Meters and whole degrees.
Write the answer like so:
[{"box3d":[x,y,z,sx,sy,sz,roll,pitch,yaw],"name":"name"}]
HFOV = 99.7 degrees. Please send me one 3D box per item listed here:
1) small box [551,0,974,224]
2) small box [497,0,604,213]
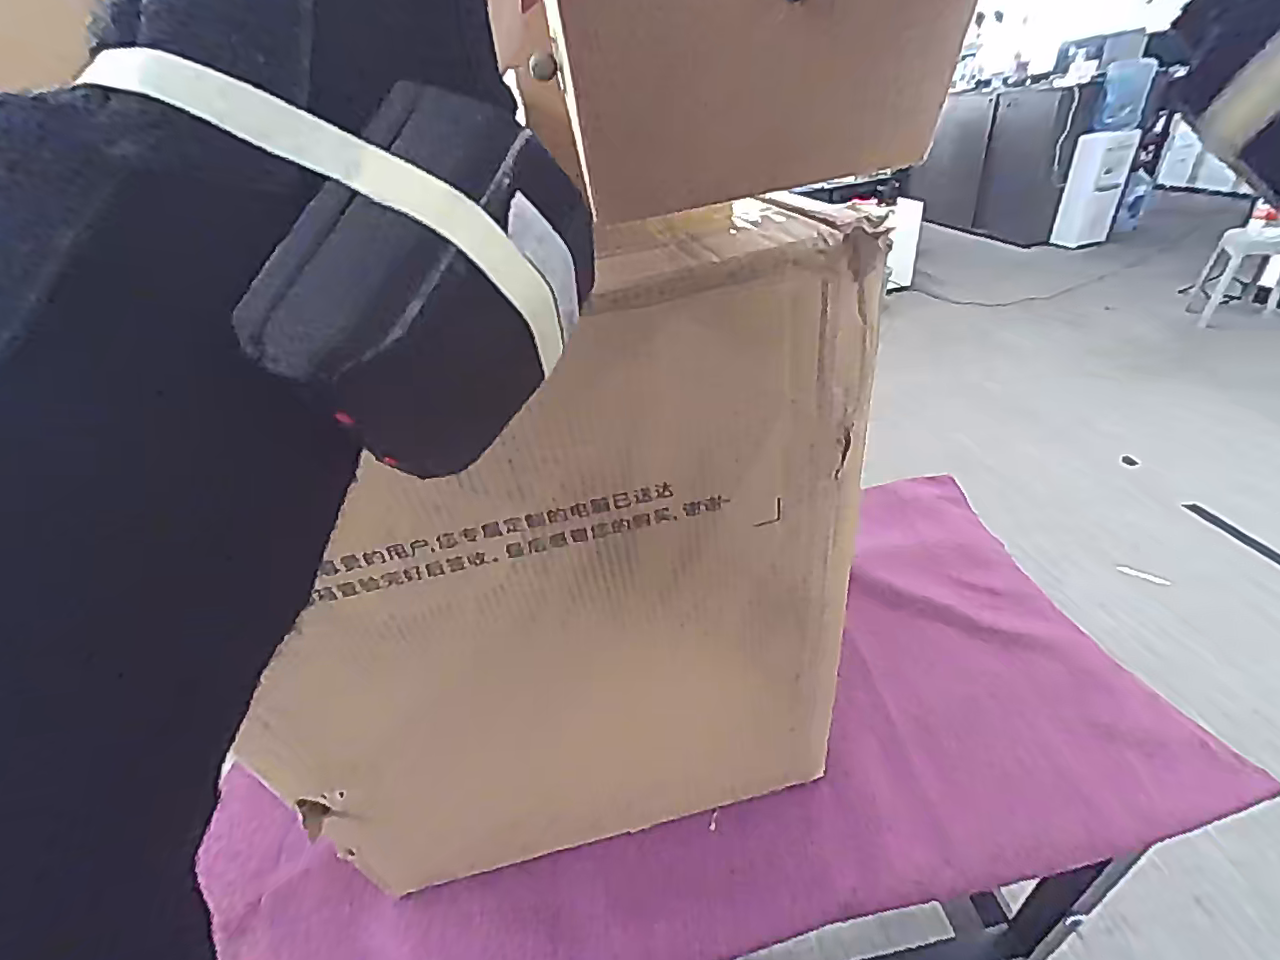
[{"box3d":[0.038,-0.253,0.237,0.168,0.176,0.179,-12,59,-1],"name":"small box"},{"box3d":[-0.026,-0.350,0.487,0.168,0.176,0.179,-12,35,-2],"name":"small box"}]
